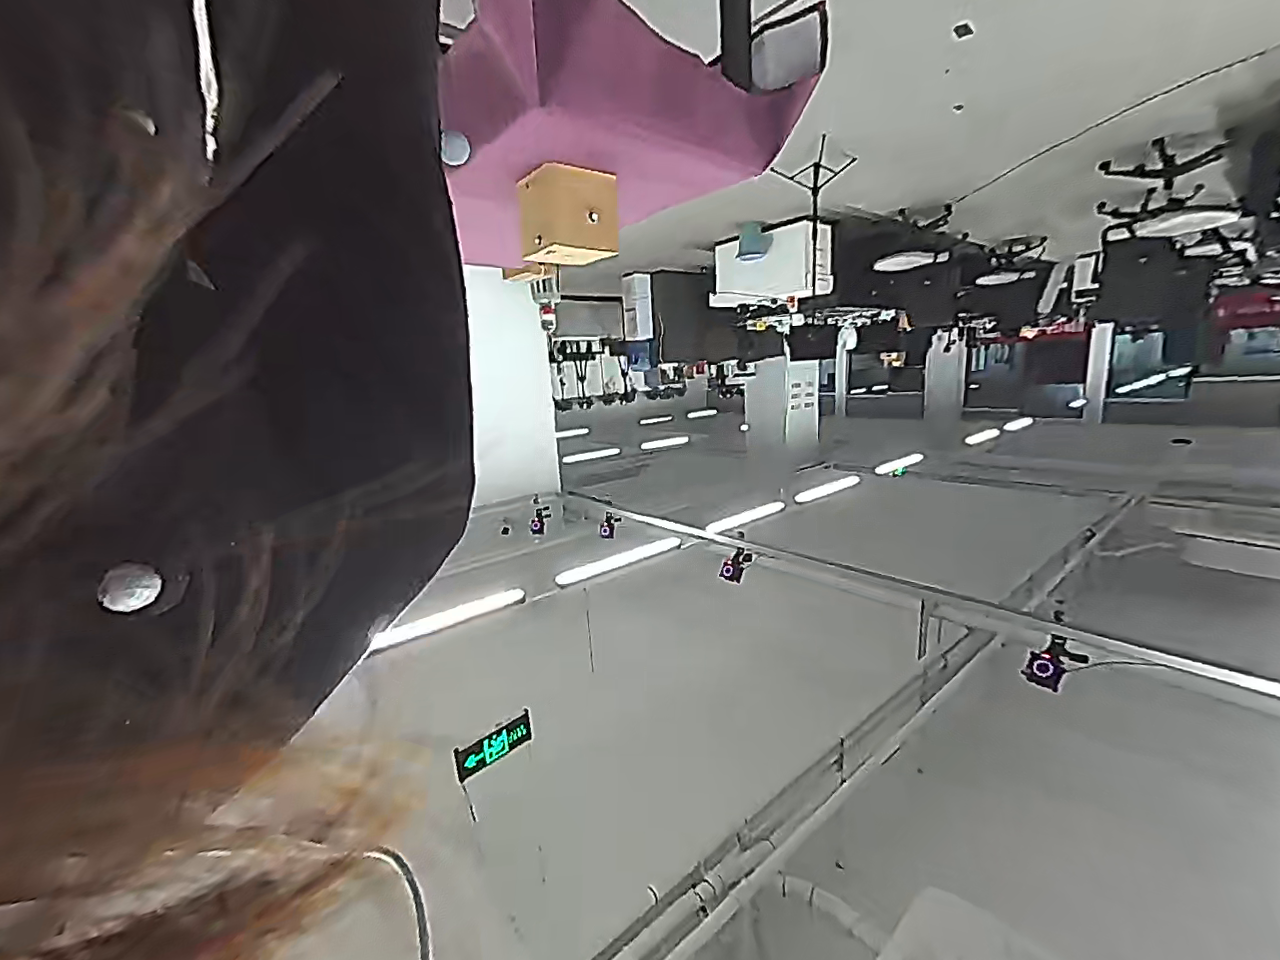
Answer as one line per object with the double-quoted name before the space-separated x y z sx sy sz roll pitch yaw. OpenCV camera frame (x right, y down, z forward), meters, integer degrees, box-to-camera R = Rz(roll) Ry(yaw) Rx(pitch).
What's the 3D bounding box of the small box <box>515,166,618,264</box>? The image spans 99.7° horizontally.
"small box" -0.171 -0.608 1.253 0.179 0.176 0.168 -13 -165 -37
